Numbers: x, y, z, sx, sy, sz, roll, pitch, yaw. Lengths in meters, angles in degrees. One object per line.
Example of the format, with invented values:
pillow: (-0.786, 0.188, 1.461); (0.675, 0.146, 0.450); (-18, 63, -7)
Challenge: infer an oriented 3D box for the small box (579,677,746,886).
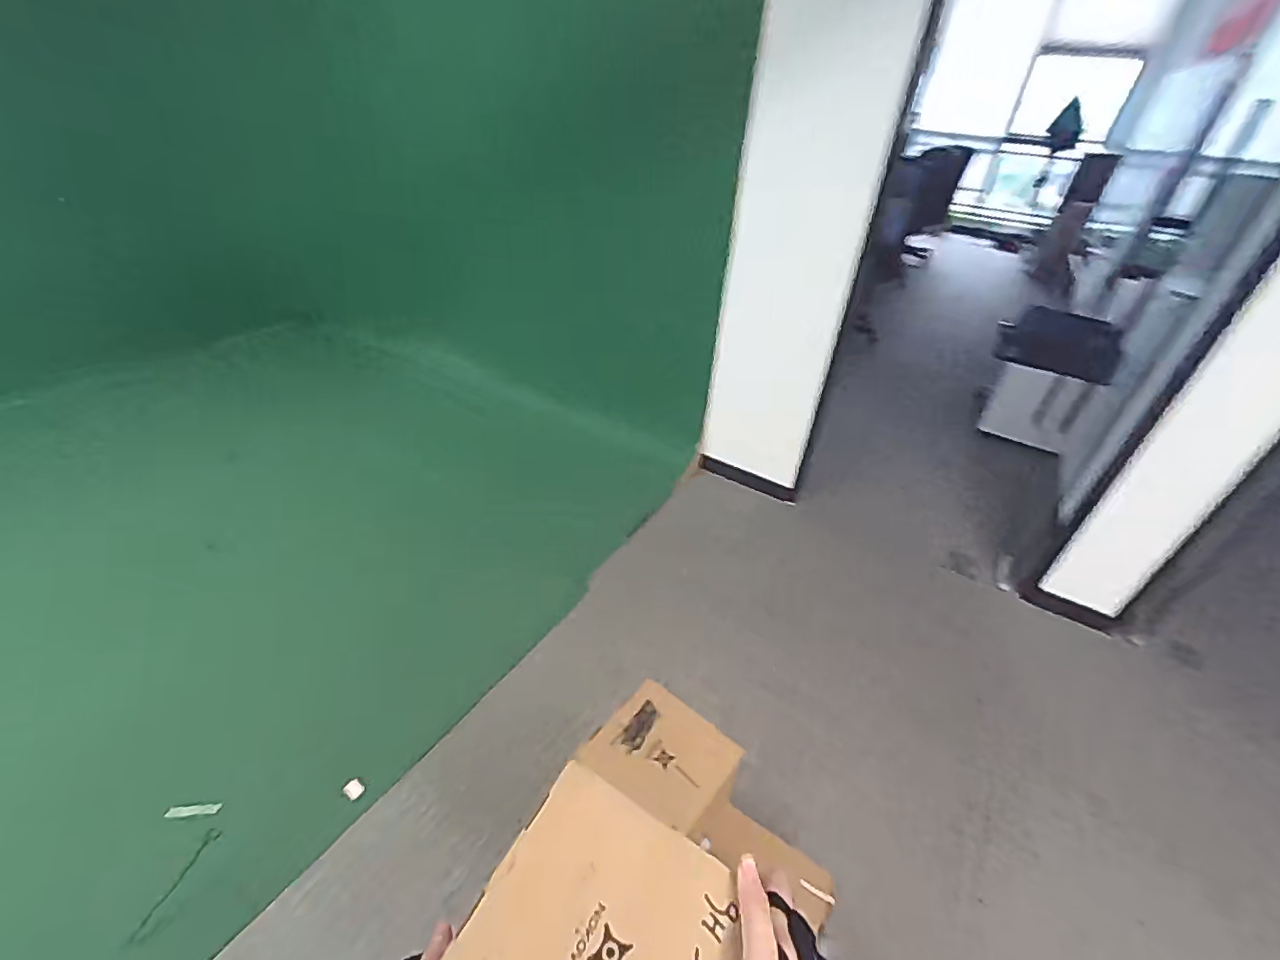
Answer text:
small box: (0.025, 0.438, 0.790); (0.179, 0.176, 0.168); (30, 44, 29)

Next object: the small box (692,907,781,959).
small box: (0.115, 0.718, 0.697); (0.168, 0.176, 0.179); (31, 45, 31)
